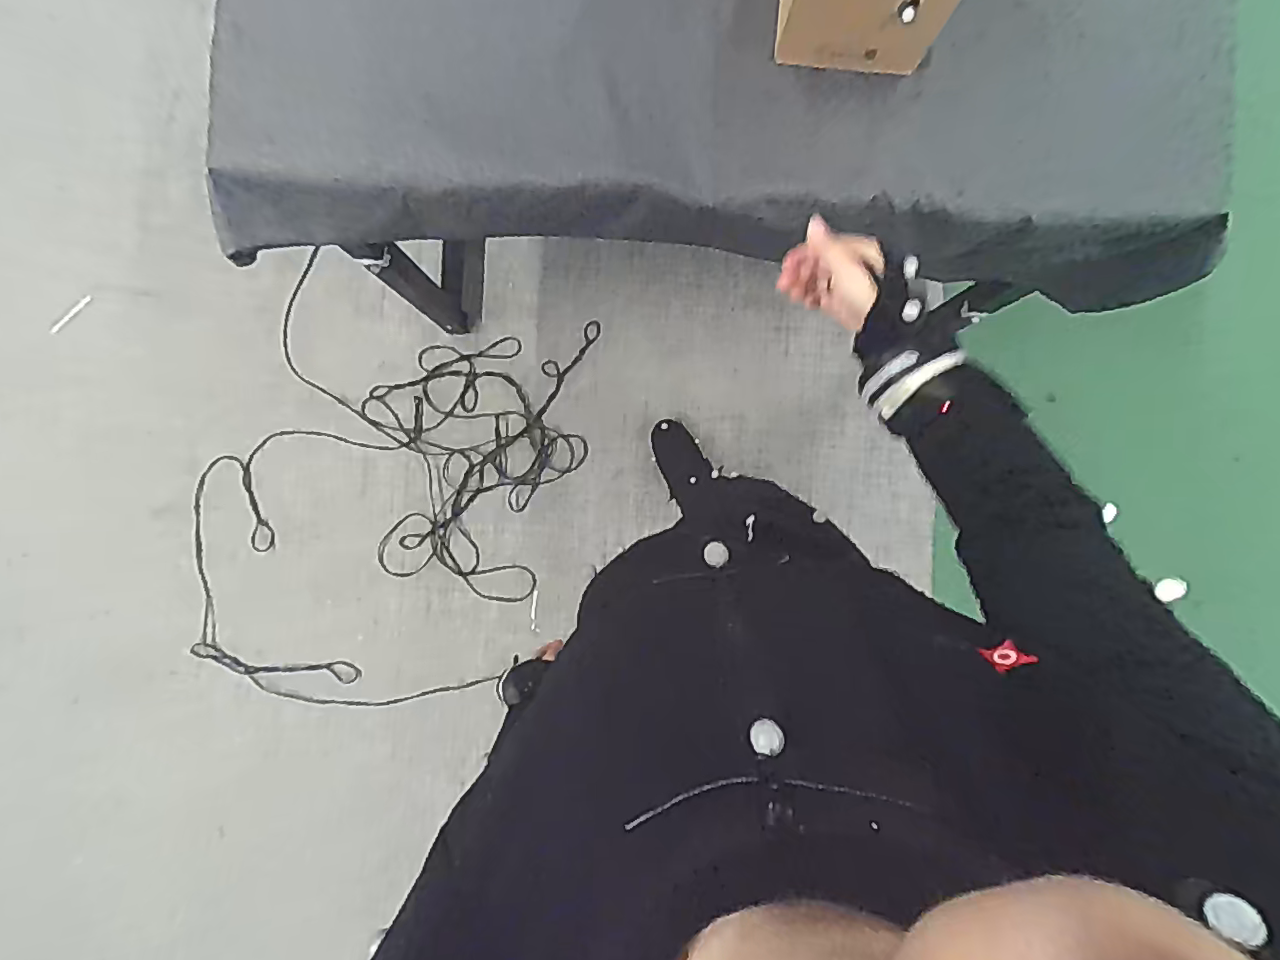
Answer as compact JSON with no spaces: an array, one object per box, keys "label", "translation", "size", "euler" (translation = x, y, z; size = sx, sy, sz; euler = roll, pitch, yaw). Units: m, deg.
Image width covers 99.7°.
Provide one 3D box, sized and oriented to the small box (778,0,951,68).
[{"label":"small box","translation":[0.247,-0.573,0.557],"size":[0.168,0.176,0.179],"euler":[5,88,-1]}]
